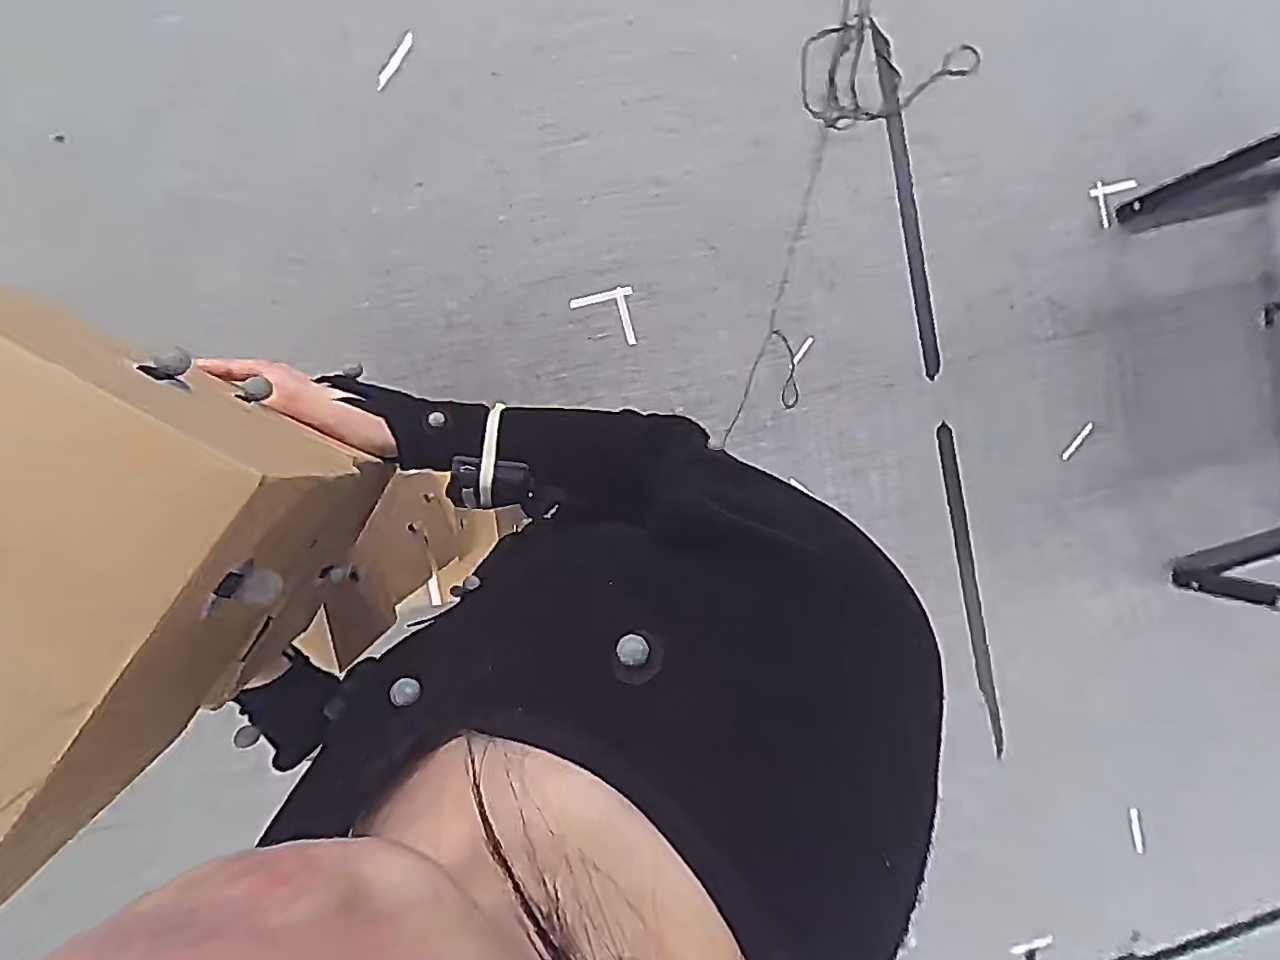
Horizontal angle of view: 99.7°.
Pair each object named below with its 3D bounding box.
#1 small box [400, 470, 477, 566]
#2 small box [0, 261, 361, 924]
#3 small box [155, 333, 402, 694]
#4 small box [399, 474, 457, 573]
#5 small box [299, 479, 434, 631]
[{"bbox_3d":[-0.433,0.076,1.090,0.168,0.176,0.179,-5,93,-6],"label":"small box"},{"bbox_3d":[-0.240,0.022,0.217,0.168,0.176,0.179,34,82,-16],"label":"small box"},{"bbox_3d":[-0.291,0.013,0.374,0.179,0.176,0.168,29,83,-17],"label":"small box"},{"bbox_3d":[-0.431,0.093,0.928,0.179,0.176,0.168,-21,94,-3],"label":"small box"},{"bbox_3d":[-0.414,0.094,0.766,0.168,0.176,0.179,-14,93,-5],"label":"small box"}]
